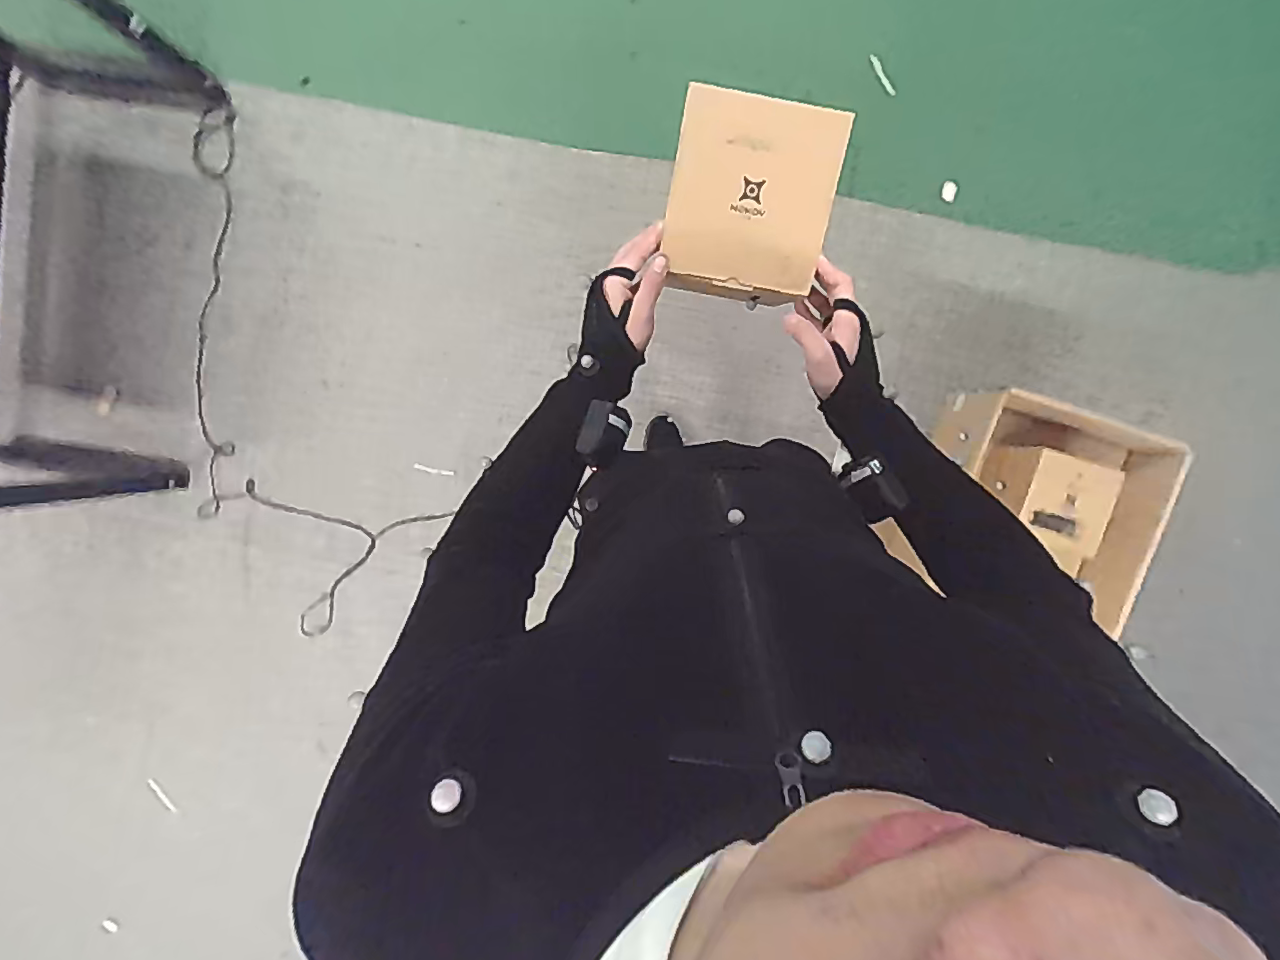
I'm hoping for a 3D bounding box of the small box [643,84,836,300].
[{"bbox_3d":[0.102,-0.313,0.628,0.168,0.176,0.179,10,106,0],"label":"small box"}]
